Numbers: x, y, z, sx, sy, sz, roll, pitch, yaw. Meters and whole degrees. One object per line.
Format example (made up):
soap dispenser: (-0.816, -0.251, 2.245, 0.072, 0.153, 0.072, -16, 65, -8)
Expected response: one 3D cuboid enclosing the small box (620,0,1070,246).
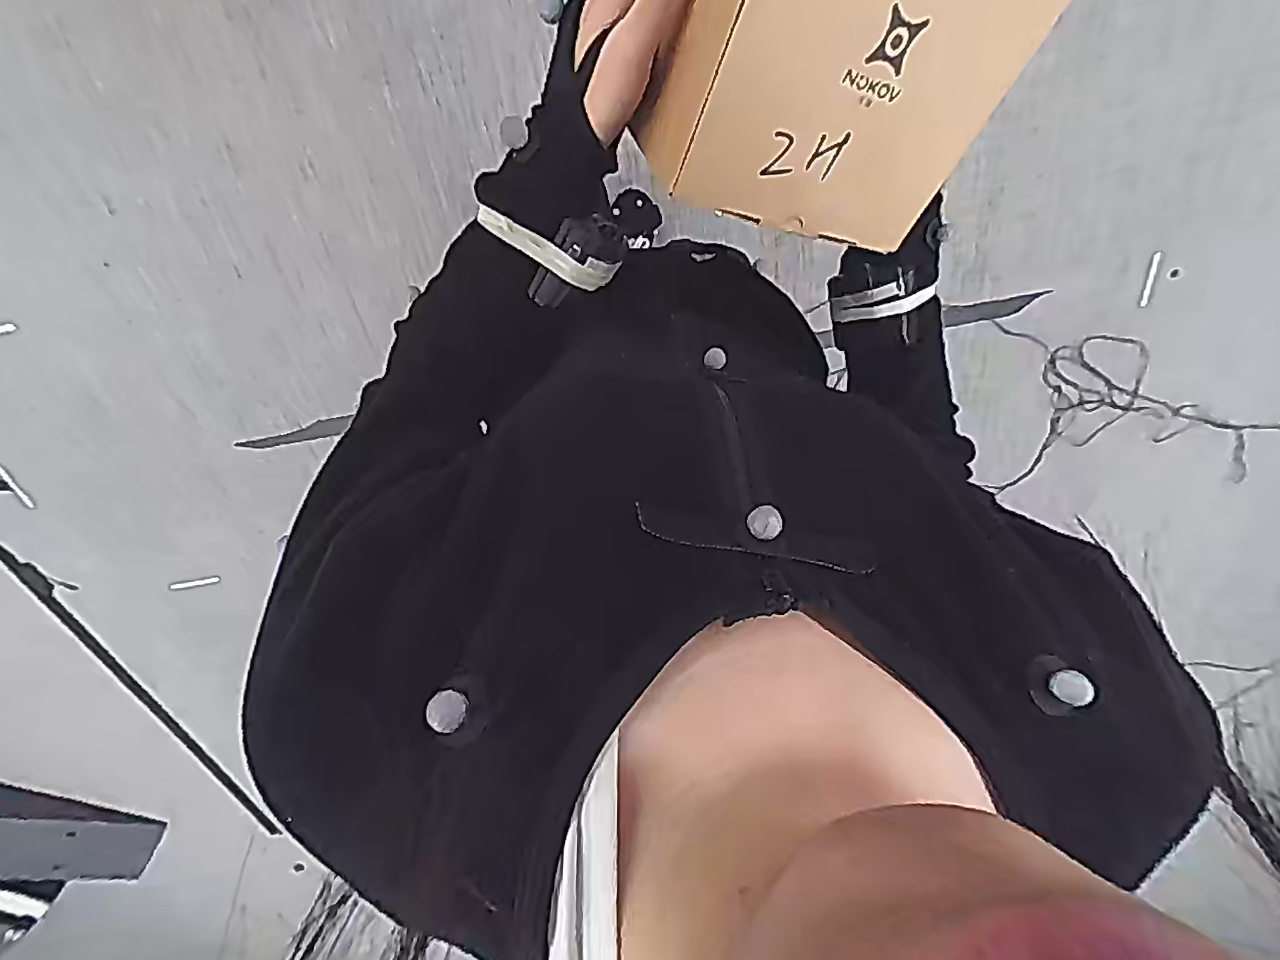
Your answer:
small box: (0.101, -0.272, 0.309, 0.168, 0.176, 0.179, 2, 139, -25)
